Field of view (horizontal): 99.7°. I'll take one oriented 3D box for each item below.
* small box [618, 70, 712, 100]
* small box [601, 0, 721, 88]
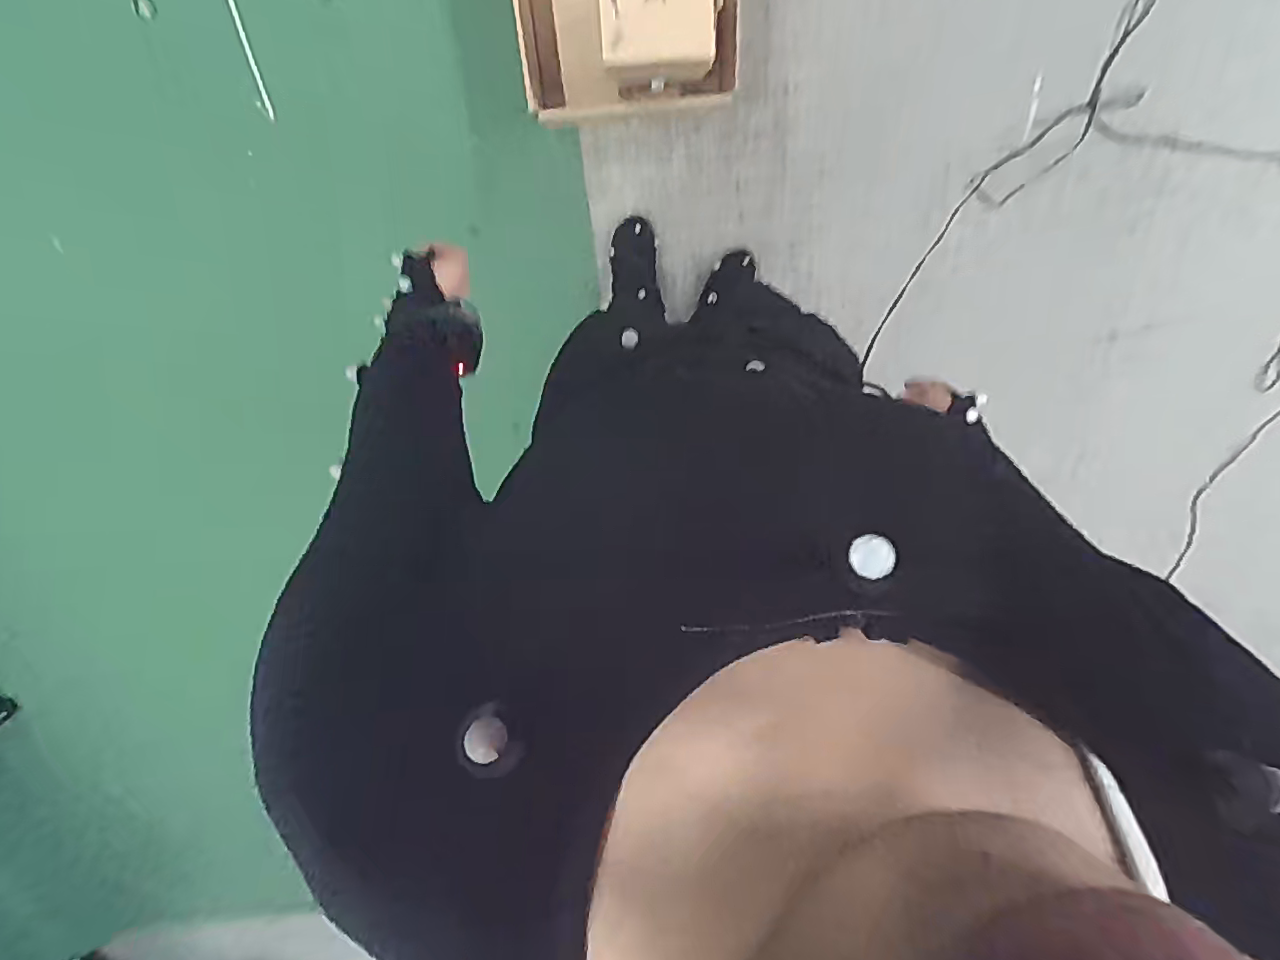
[{"bbox_3d":[0.035,-0.828,1.005,0.179,0.176,0.168,-8,117,1],"label":"small box"},{"bbox_3d":[0.028,-0.744,0.863,0.179,0.176,0.168,-4,117,-1],"label":"small box"}]
